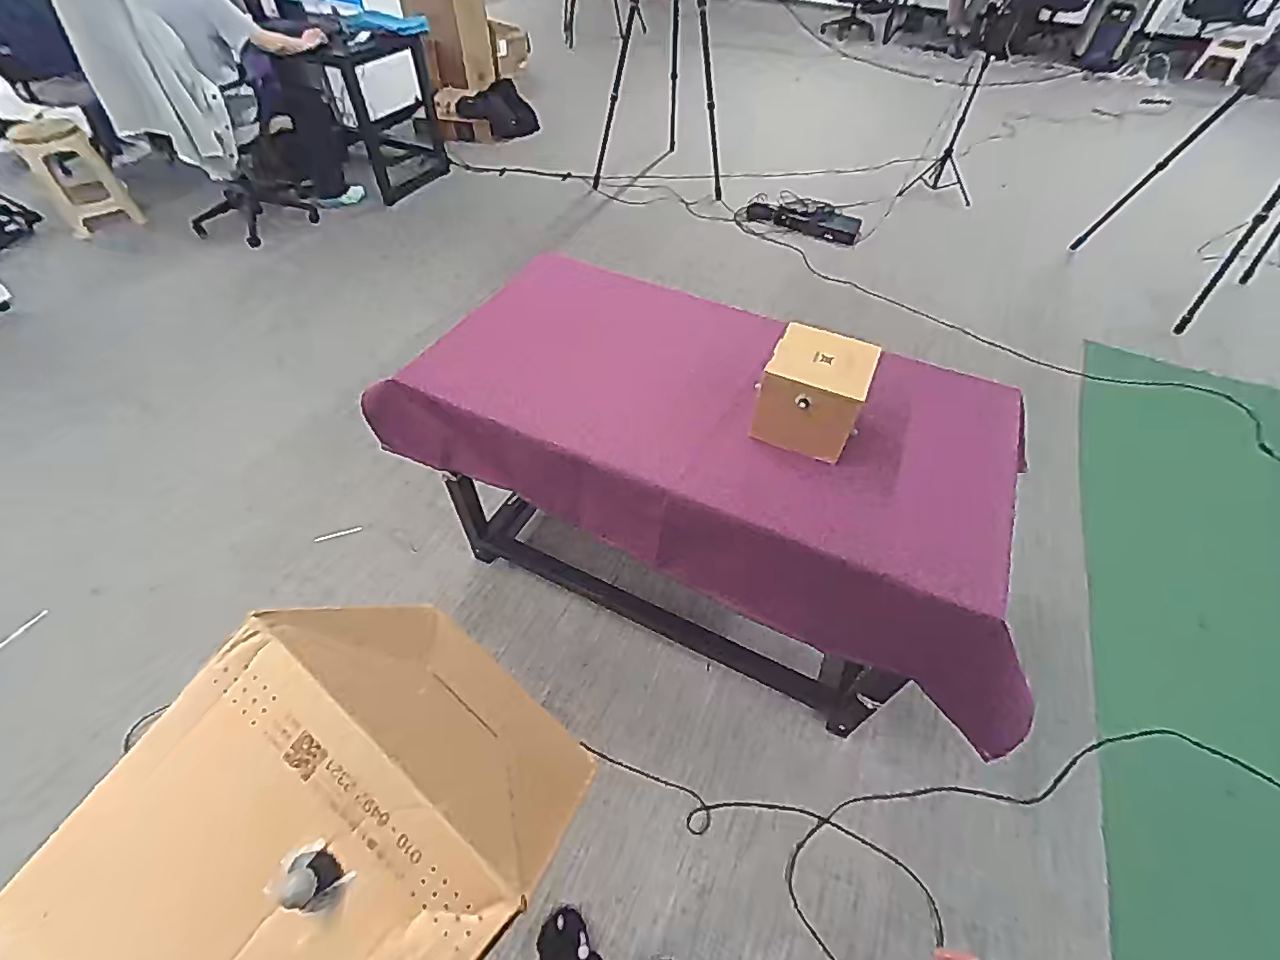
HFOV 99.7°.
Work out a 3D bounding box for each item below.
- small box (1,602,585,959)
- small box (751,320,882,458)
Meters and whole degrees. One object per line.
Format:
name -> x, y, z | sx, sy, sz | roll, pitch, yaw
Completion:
small box -> -0.150, 0.183, 0.304 | 0.168, 0.179, 0.176 | 38, 83, 11
small box -> 0.325, -0.168, 1.020 | 0.179, 0.176, 0.168 | 22, 54, 15
